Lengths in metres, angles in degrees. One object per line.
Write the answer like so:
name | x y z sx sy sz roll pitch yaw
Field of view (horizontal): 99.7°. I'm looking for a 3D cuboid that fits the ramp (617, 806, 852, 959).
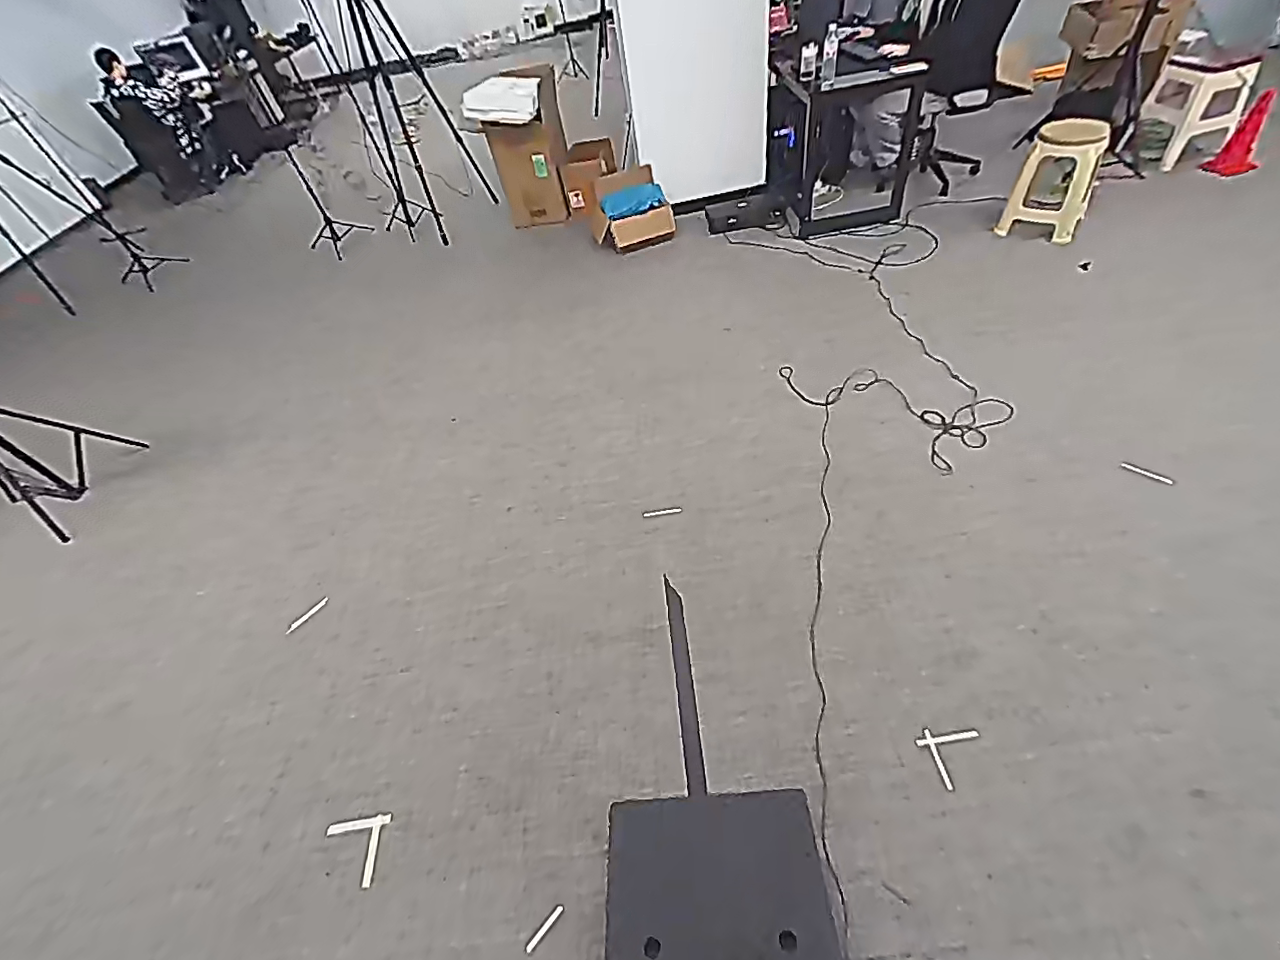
ramp | 0.193 1.130 0.947 0.509 0.206 0.991 -11 45 4
